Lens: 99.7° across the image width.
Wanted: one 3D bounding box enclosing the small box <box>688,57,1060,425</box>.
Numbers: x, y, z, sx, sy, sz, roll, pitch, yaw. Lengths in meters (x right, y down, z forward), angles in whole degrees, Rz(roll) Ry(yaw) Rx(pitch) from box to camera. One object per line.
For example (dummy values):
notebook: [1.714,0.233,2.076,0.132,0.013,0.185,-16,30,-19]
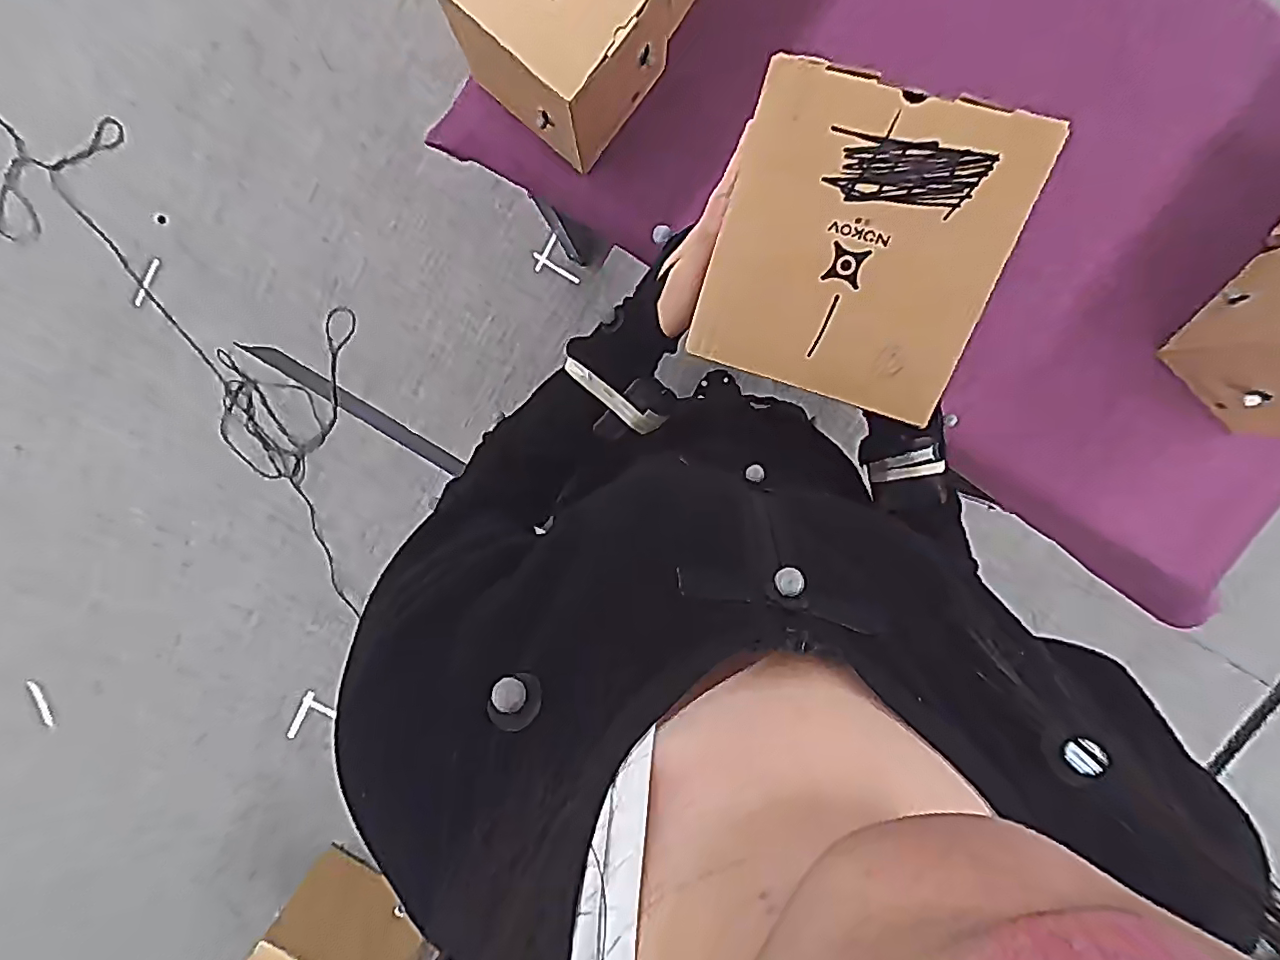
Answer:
small box: [0.147,-0.162,0.404,0.168,0.176,0.179,19,110,7]
